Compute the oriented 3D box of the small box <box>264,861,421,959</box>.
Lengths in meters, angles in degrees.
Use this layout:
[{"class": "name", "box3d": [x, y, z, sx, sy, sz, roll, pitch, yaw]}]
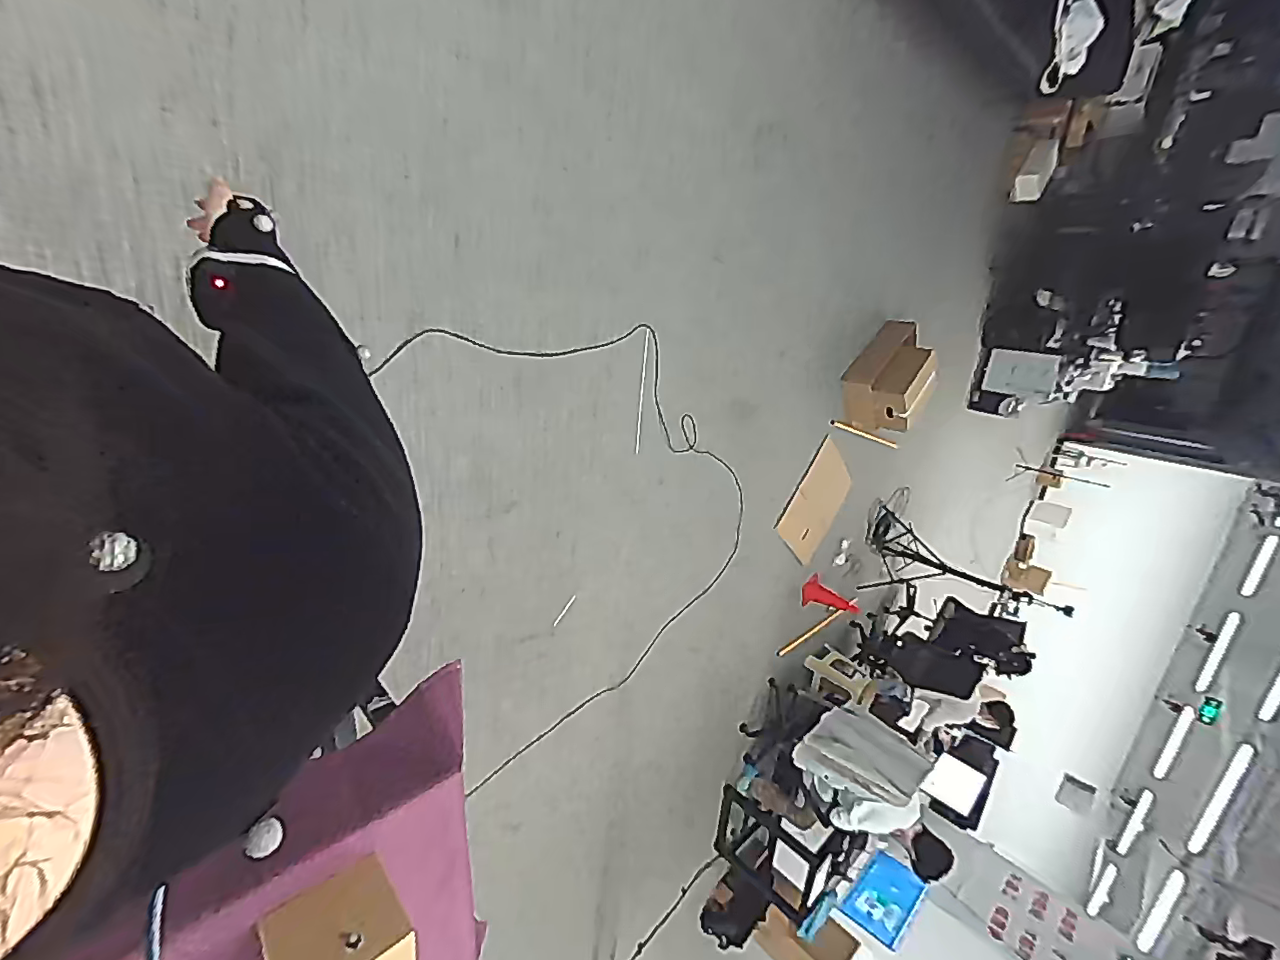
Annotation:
[{"class": "small box", "box3d": [-0.467, 0.764, 0.856, 0.179, 0.176, 0.168, -11, 113, -43]}]
